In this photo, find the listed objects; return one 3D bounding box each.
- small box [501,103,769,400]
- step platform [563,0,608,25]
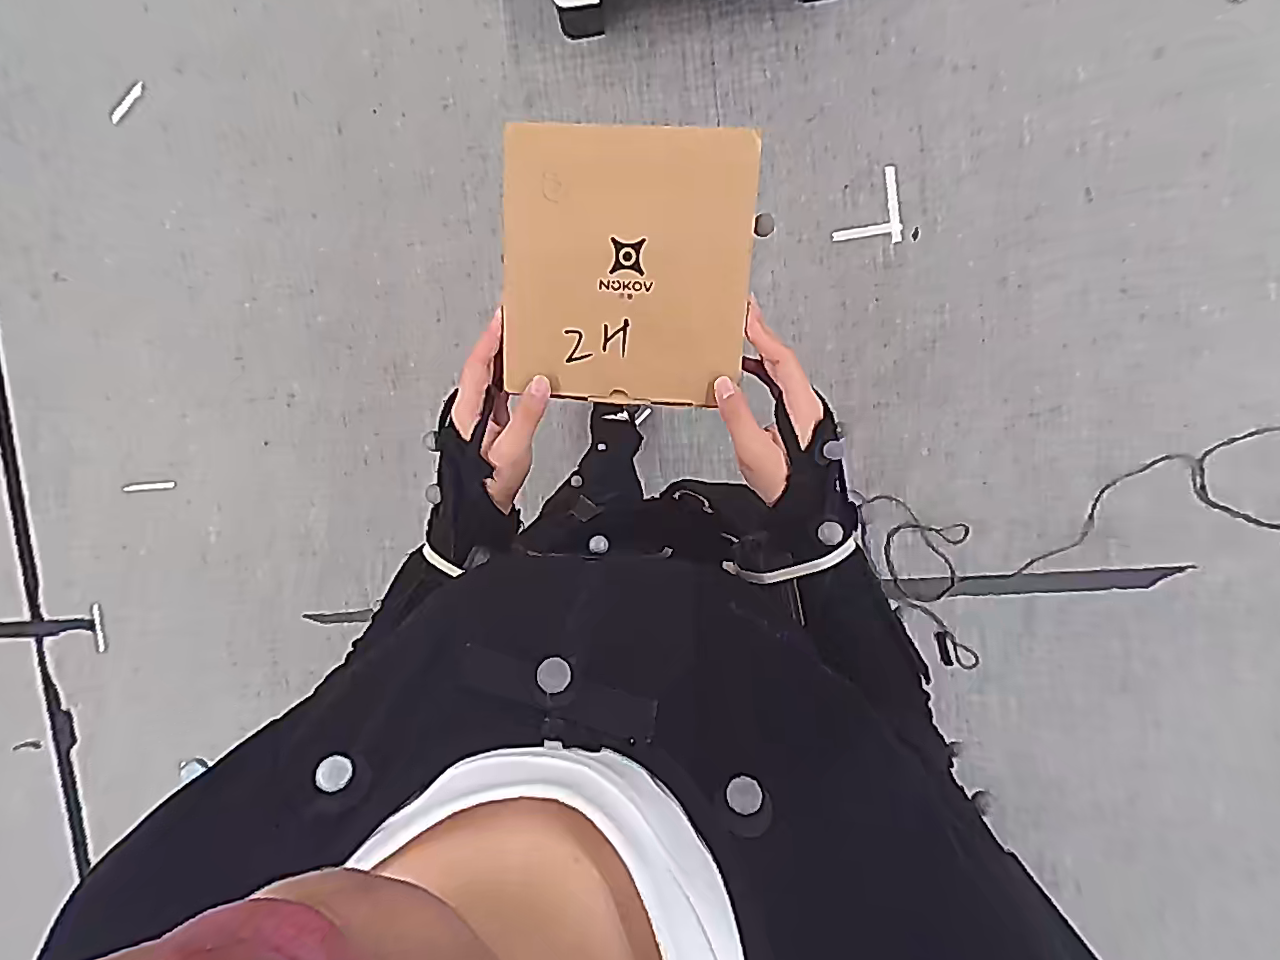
[{"bbox_3d":[-0.002,-0.160,0.431,0.168,0.176,0.179,5,102,4],"label":"small box"},{"bbox_3d":[0.134,-1.243,1.165,0.684,0.204,0.286,-5,93,6],"label":"step platform"}]
